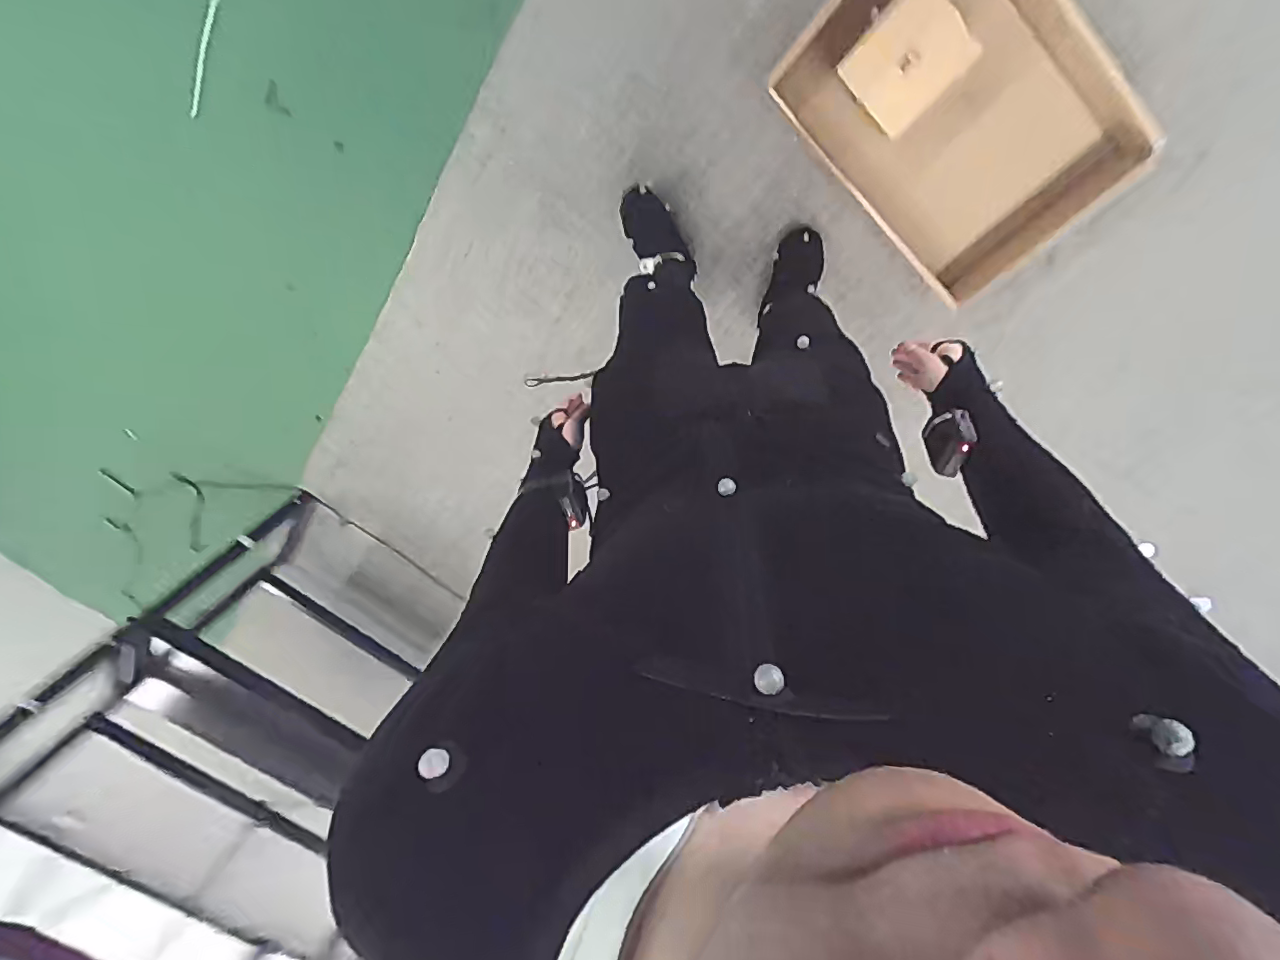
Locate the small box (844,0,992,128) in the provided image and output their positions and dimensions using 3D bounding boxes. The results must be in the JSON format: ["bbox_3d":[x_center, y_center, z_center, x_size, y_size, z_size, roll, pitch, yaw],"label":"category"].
[{"bbox_3d":[0.496,-0.786,0.995,0.168,0.176,0.179,41,123,-13],"label":"small box"}]
